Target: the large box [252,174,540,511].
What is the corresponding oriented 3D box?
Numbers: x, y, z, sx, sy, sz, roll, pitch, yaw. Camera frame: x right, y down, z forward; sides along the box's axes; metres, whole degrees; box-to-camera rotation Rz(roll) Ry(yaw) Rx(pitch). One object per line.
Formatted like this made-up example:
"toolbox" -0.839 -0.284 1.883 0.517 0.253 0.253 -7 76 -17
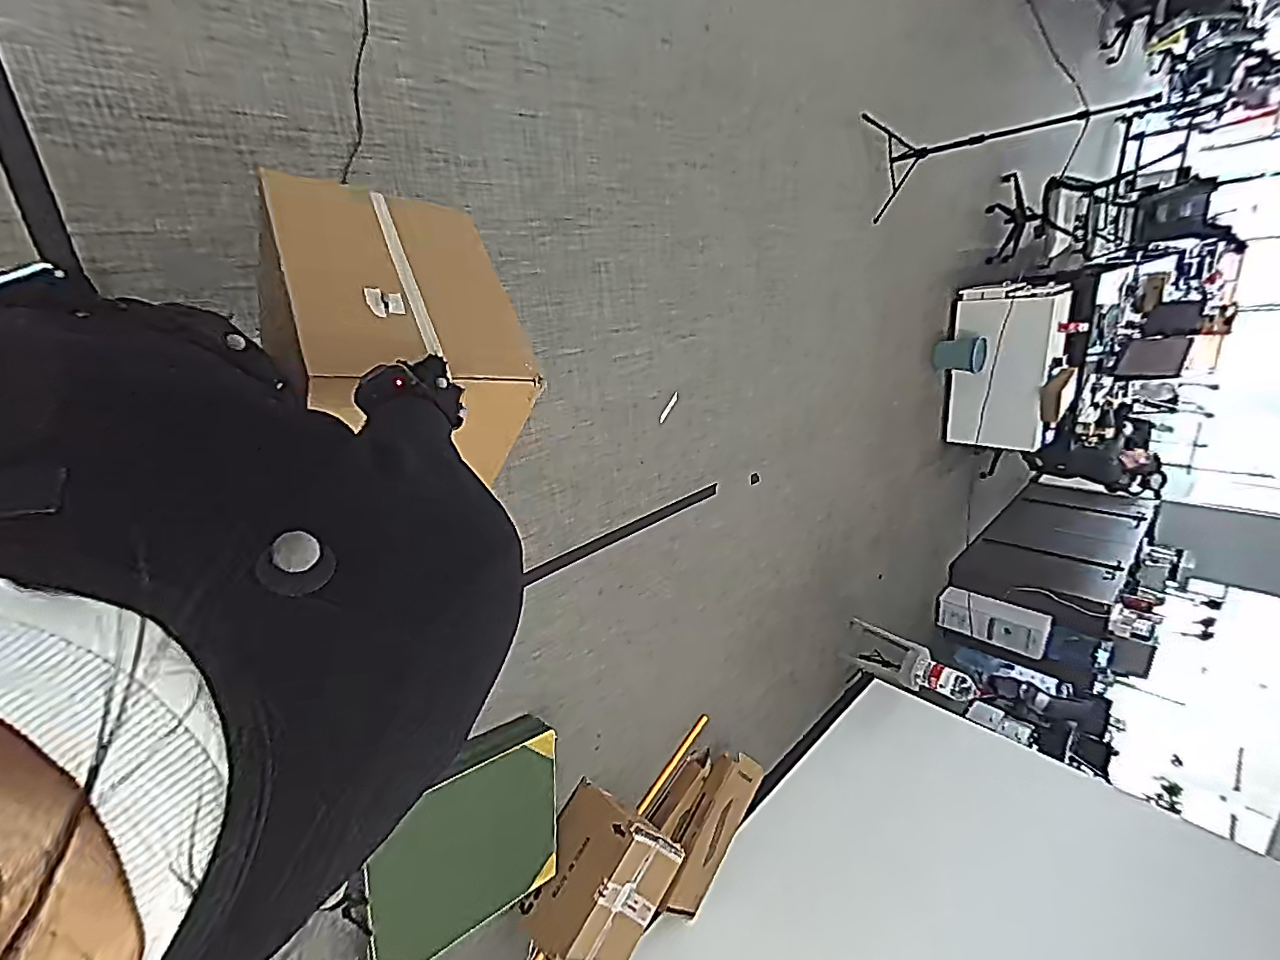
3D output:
"large box" -0.426 -0.209 0.900 0.320 0.320 0.408 -8 62 -39
